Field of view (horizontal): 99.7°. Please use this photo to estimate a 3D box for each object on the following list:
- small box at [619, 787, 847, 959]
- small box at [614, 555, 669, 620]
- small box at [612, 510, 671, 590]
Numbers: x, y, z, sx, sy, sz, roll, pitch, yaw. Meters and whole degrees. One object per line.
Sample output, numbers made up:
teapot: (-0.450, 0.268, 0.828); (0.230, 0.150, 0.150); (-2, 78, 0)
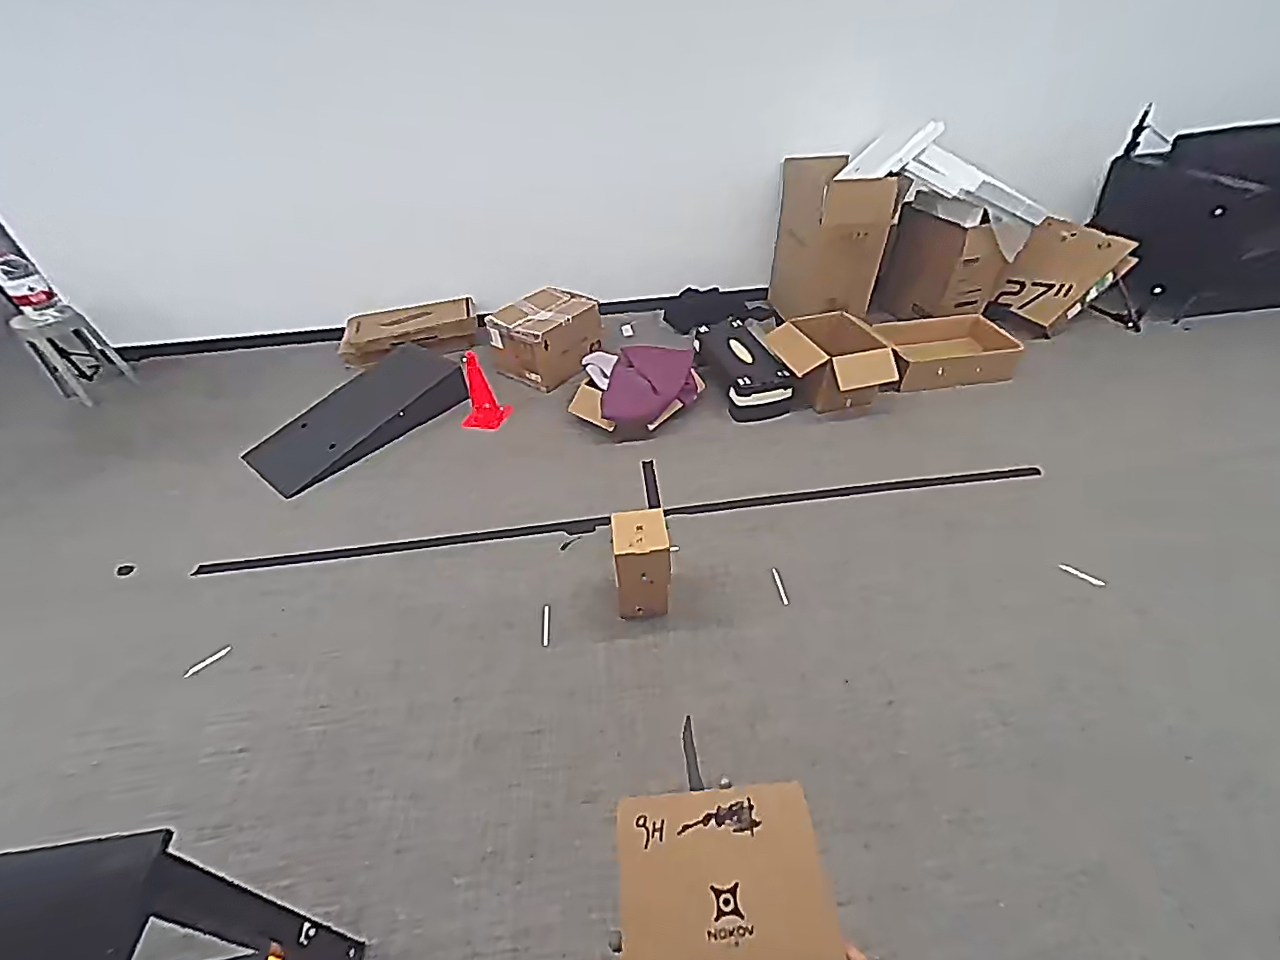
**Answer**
small box: (0.072, 0.391, 0.471); (0.168, 0.176, 0.179); (-4, 47, -3)
small box: (0.004, 0.339, 1.798); (0.168, 0.176, 0.179); (-7, 42, -2)
small box: (0.004, 0.219, 1.683); (0.168, 0.176, 0.179); (-7, 41, -2)
